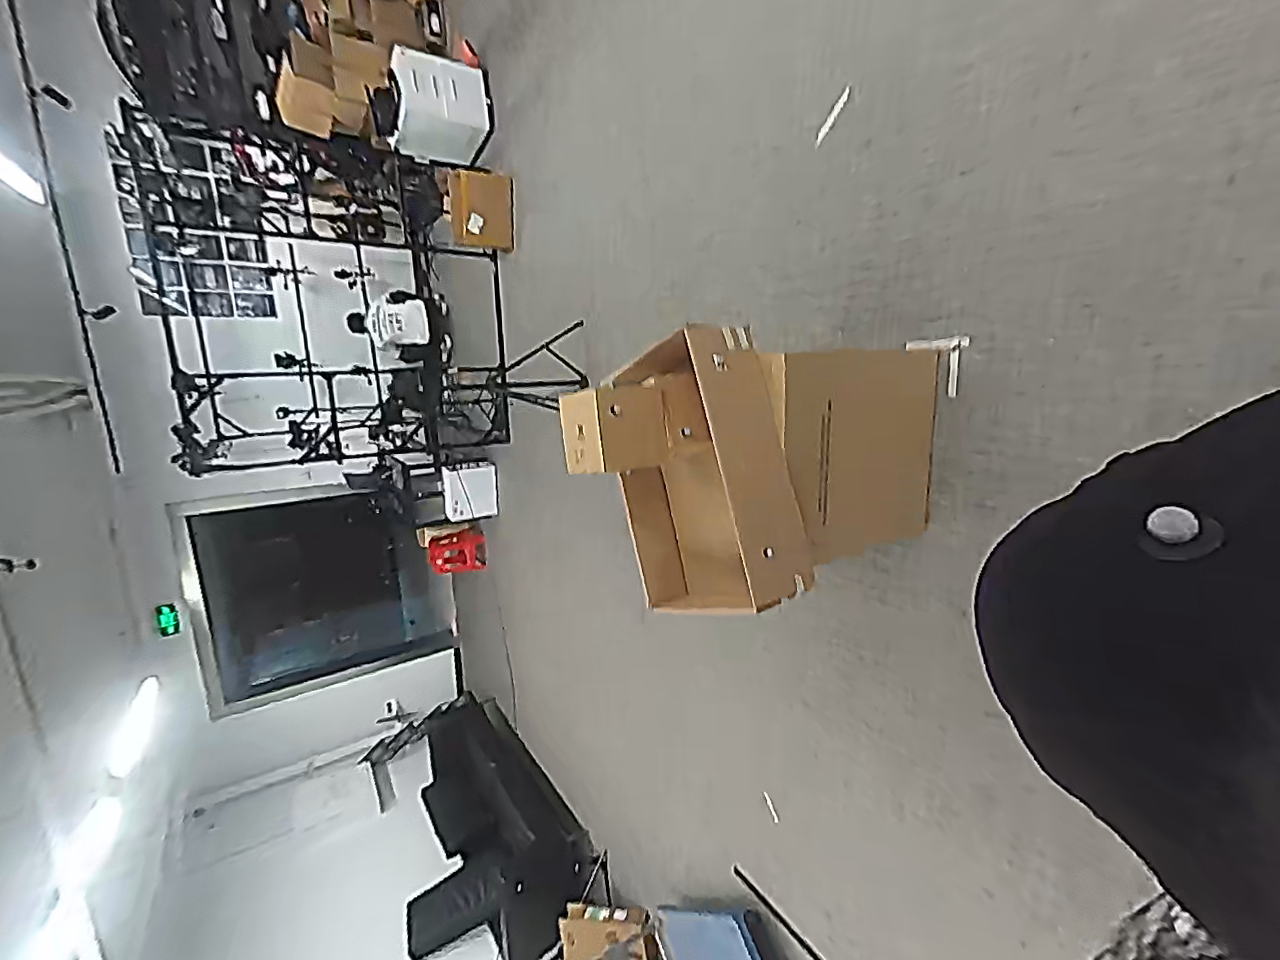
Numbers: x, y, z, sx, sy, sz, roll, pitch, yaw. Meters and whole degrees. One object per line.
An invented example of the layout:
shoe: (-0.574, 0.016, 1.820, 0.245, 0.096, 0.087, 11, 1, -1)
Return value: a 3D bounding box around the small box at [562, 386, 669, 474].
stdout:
small box: (-0.053, -0.112, 1.194, 0.168, 0.176, 0.179, 3, 102, 56)
